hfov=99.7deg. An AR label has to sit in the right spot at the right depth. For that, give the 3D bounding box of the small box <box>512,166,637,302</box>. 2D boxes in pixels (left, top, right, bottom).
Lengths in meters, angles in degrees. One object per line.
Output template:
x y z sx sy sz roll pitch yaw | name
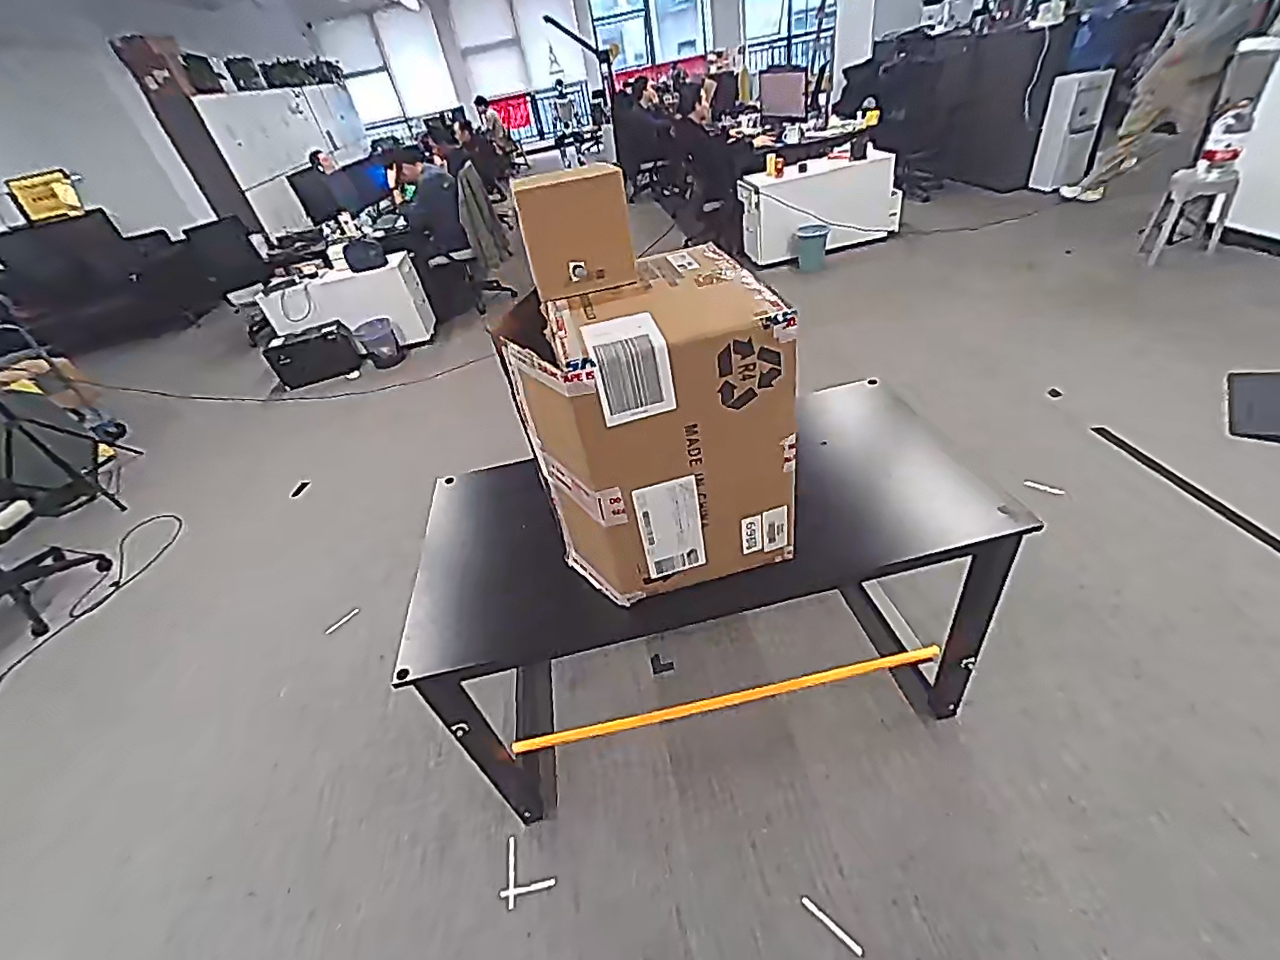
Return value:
-0.112 -0.415 0.911 0.168 0.176 0.179 -16 36 -6 | small box
